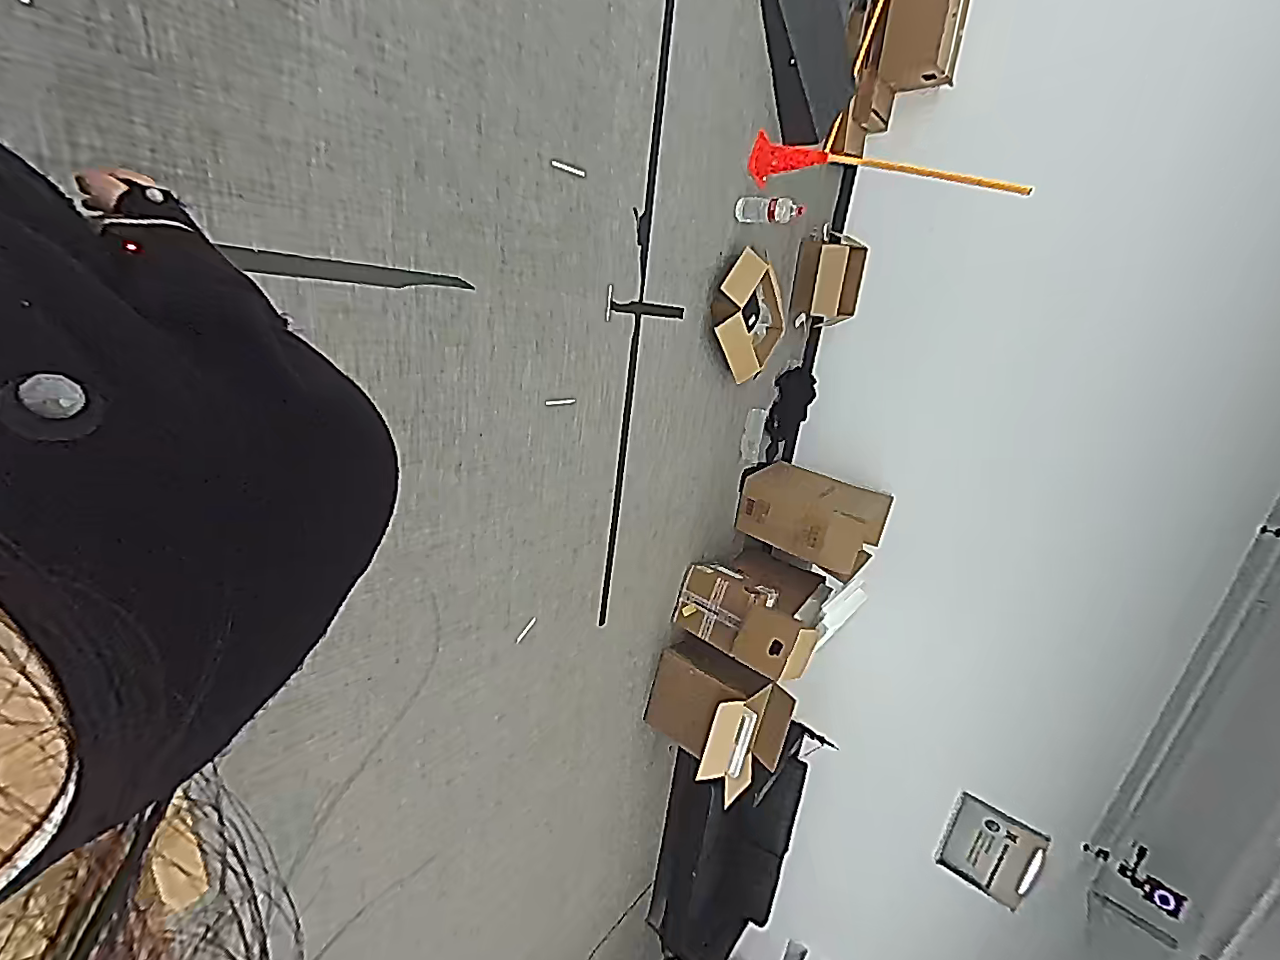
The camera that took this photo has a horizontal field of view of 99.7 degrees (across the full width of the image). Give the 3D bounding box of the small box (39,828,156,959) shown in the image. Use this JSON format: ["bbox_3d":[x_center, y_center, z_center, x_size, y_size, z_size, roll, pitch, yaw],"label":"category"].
[{"bbox_3d":[-1.285,0.971,1.281,0.168,0.176,0.179,-13,118,-49],"label":"small box"}]

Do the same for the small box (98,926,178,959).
[{"bbox_3d":[-1.034,1.073,1.094,0.168,0.176,0.179,-16,119,-49],"label":"small box"}]
